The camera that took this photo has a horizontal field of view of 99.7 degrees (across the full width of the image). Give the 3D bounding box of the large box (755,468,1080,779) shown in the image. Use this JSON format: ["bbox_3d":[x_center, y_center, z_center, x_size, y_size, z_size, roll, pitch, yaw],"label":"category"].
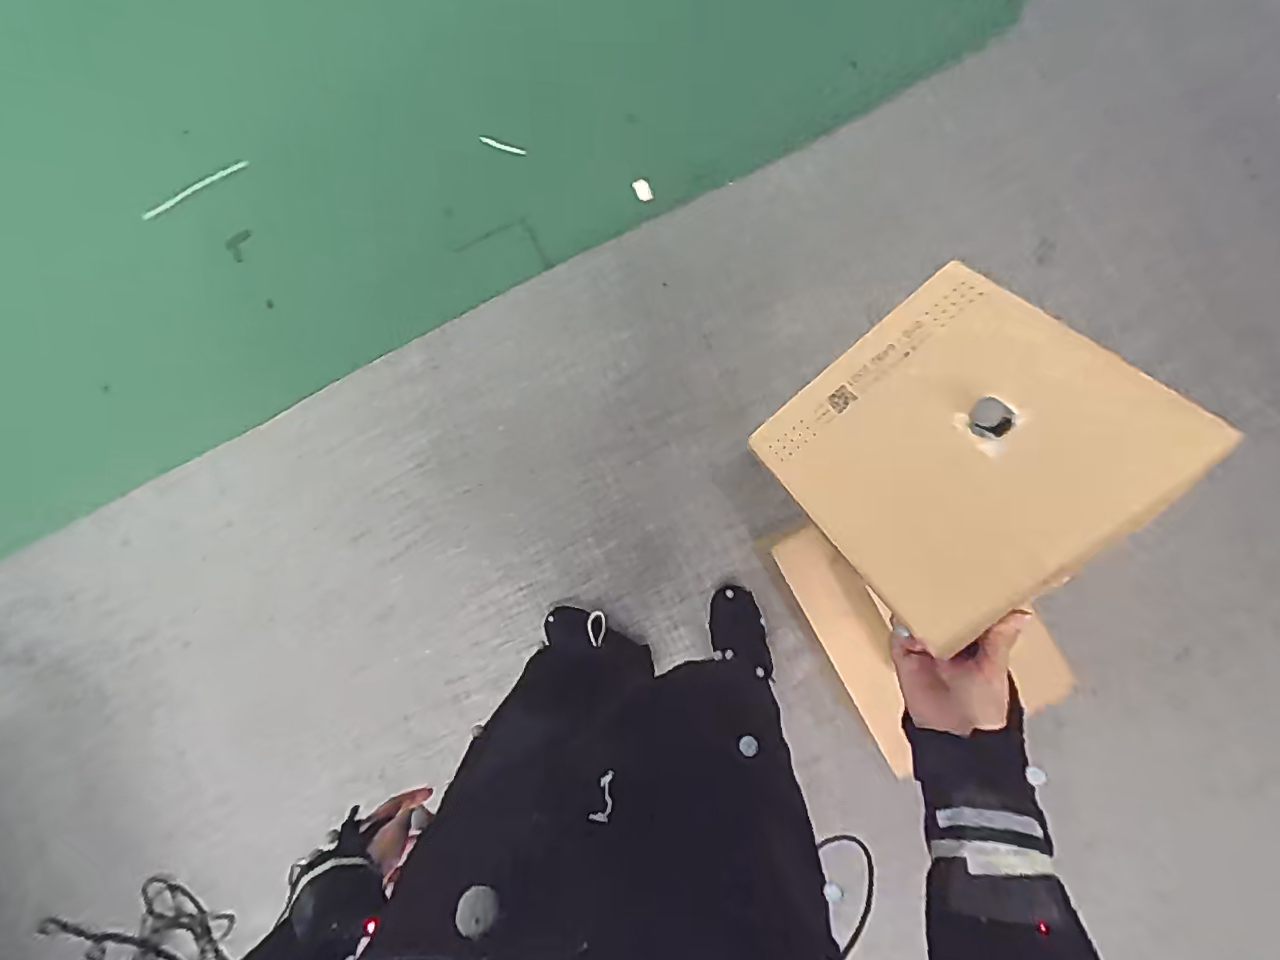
[{"bbox_3d":[0.457,0.232,0.999,0.320,0.320,0.408,-29,83,4],"label":"large box"}]
